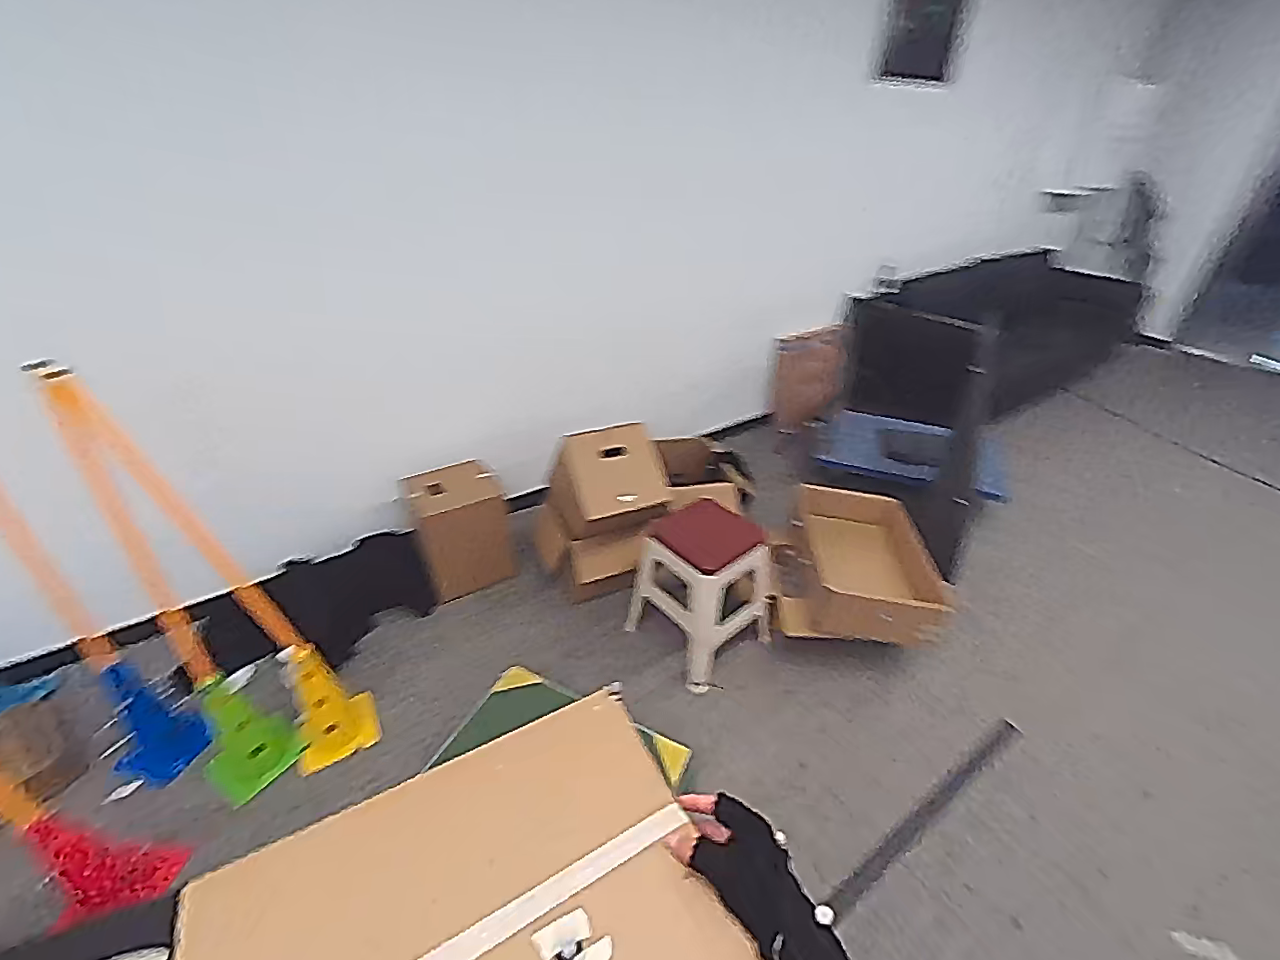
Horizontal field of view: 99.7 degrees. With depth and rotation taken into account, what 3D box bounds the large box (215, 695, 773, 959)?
[{"bbox_3d":[-0.131,0.506,0.537,0.408,0.320,0.320,-16,40,-24],"label":"large box"}]
